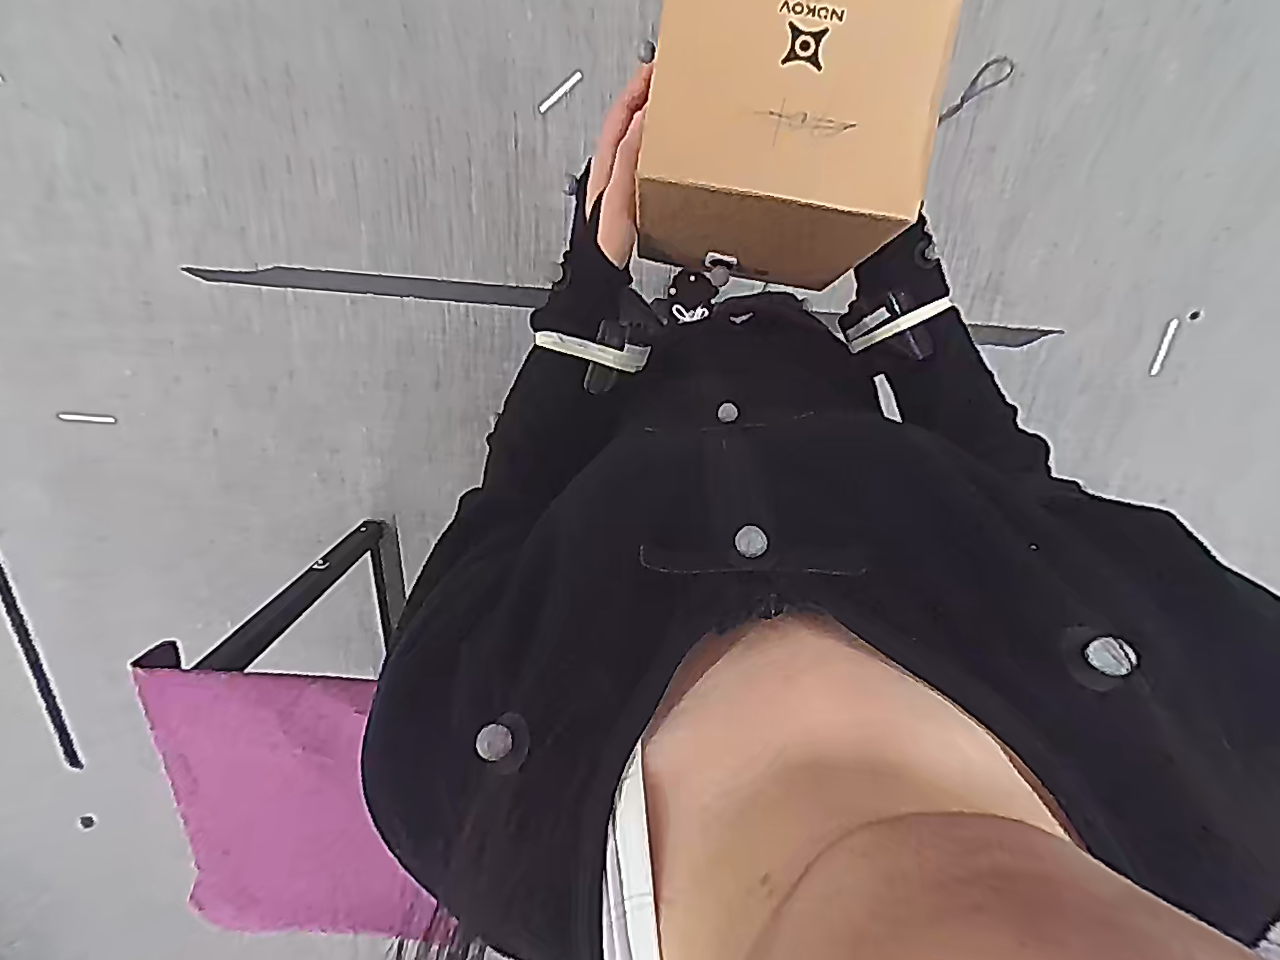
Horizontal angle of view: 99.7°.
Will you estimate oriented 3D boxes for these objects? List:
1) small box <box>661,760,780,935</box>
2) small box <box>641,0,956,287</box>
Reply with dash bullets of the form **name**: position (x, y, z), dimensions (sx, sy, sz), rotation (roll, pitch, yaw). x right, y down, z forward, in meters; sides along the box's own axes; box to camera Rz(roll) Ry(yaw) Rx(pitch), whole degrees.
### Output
- **small box**: position (0.121, 0.595, 0.886), dimensions (0.168, 0.176, 0.179), rotation (1, 111, 0)
- **small box**: position (0.092, -0.258, 0.387), dimensions (0.168, 0.176, 0.179), rotation (9, 96, 0)
